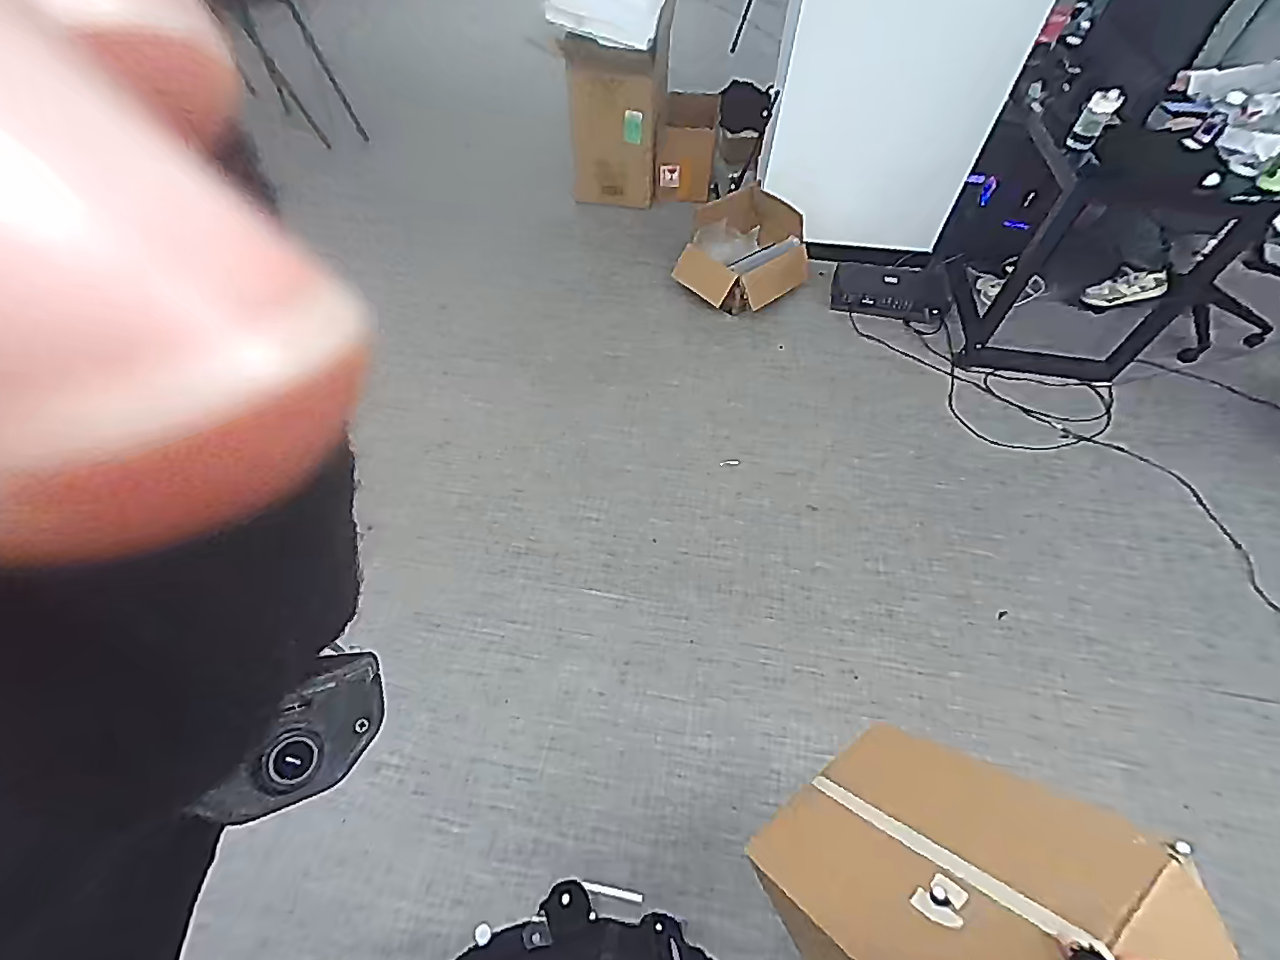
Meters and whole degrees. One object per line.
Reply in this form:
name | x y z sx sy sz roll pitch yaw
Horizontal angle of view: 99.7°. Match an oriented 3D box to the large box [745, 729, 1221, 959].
large box | 0.413 0.597 0.687 0.320 0.408 0.320 -28 95 -21
